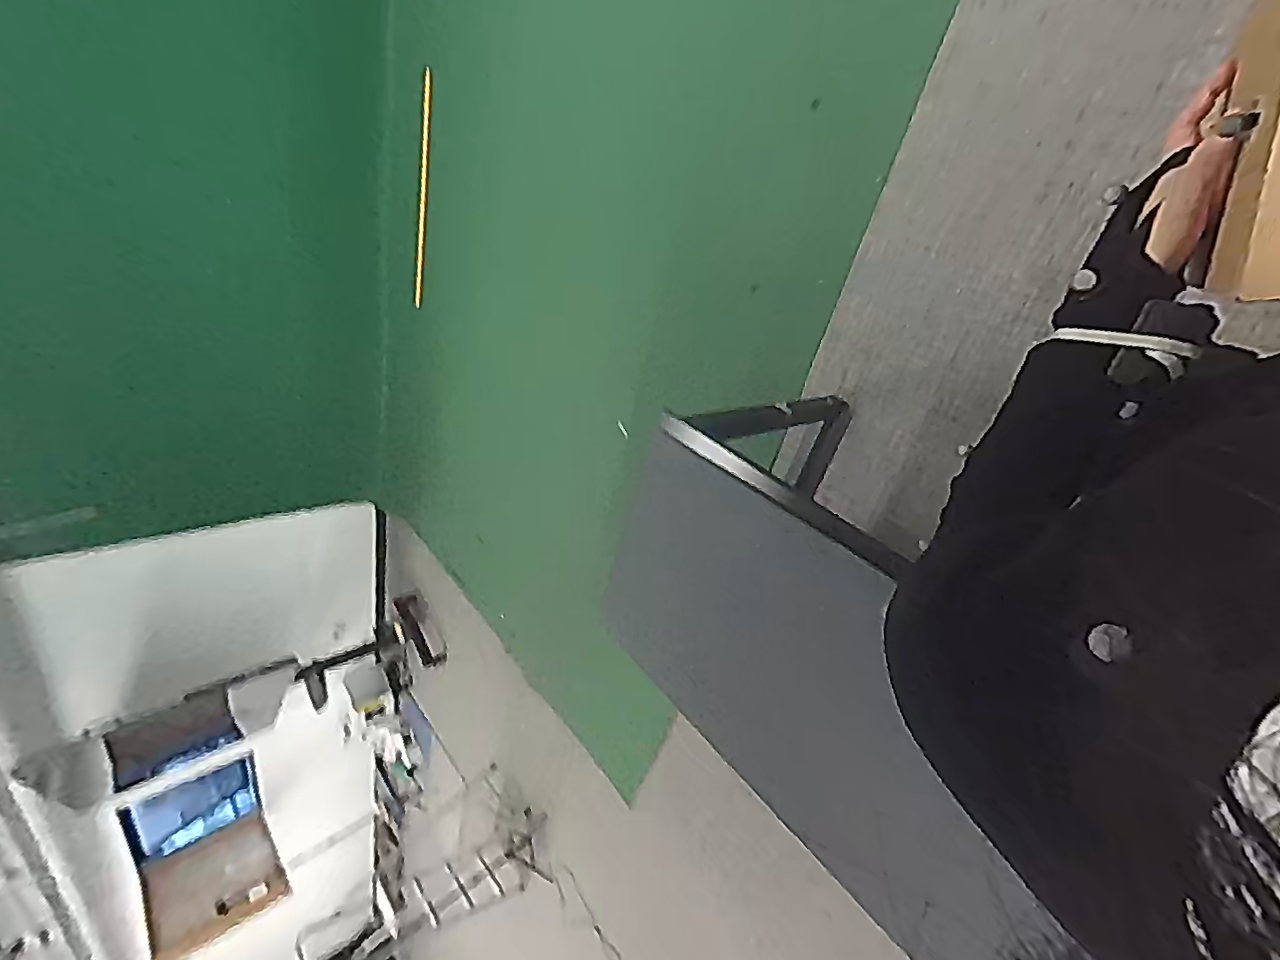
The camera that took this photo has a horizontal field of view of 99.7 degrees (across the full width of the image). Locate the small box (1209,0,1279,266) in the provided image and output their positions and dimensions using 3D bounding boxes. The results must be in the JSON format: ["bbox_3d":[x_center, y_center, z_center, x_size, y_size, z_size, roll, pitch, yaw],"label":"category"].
[{"bbox_3d":[0.435,-0.211,0.277,0.168,0.176,0.179,8,114,37],"label":"small box"}]
